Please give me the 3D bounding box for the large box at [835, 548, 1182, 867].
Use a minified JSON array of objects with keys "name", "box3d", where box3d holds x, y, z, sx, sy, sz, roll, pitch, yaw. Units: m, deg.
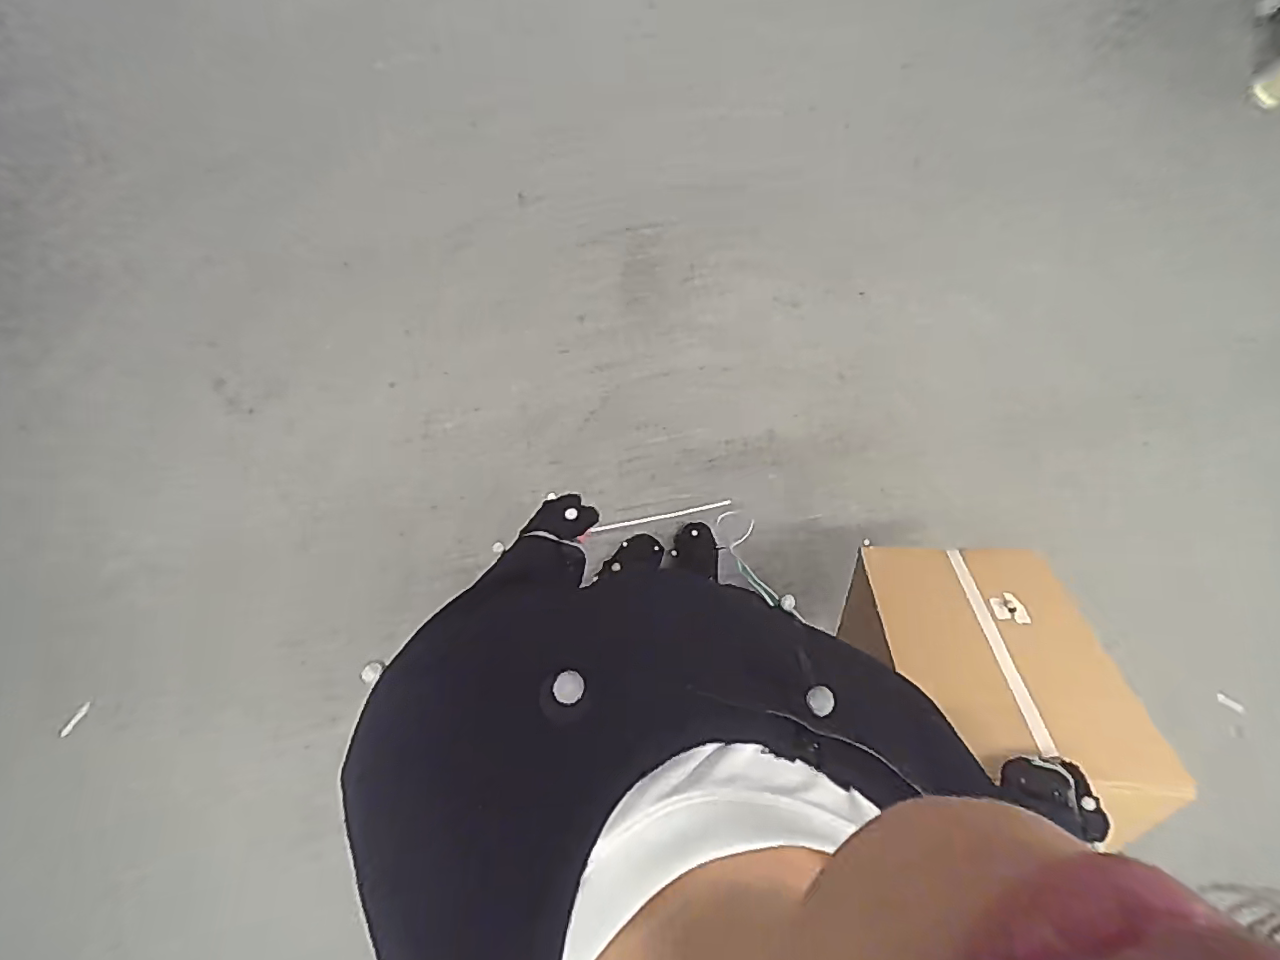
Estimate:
[{"name":"large box","box3d":[0.546,0.371,0.923,0.320,0.408,0.320,2,128,6]}]
